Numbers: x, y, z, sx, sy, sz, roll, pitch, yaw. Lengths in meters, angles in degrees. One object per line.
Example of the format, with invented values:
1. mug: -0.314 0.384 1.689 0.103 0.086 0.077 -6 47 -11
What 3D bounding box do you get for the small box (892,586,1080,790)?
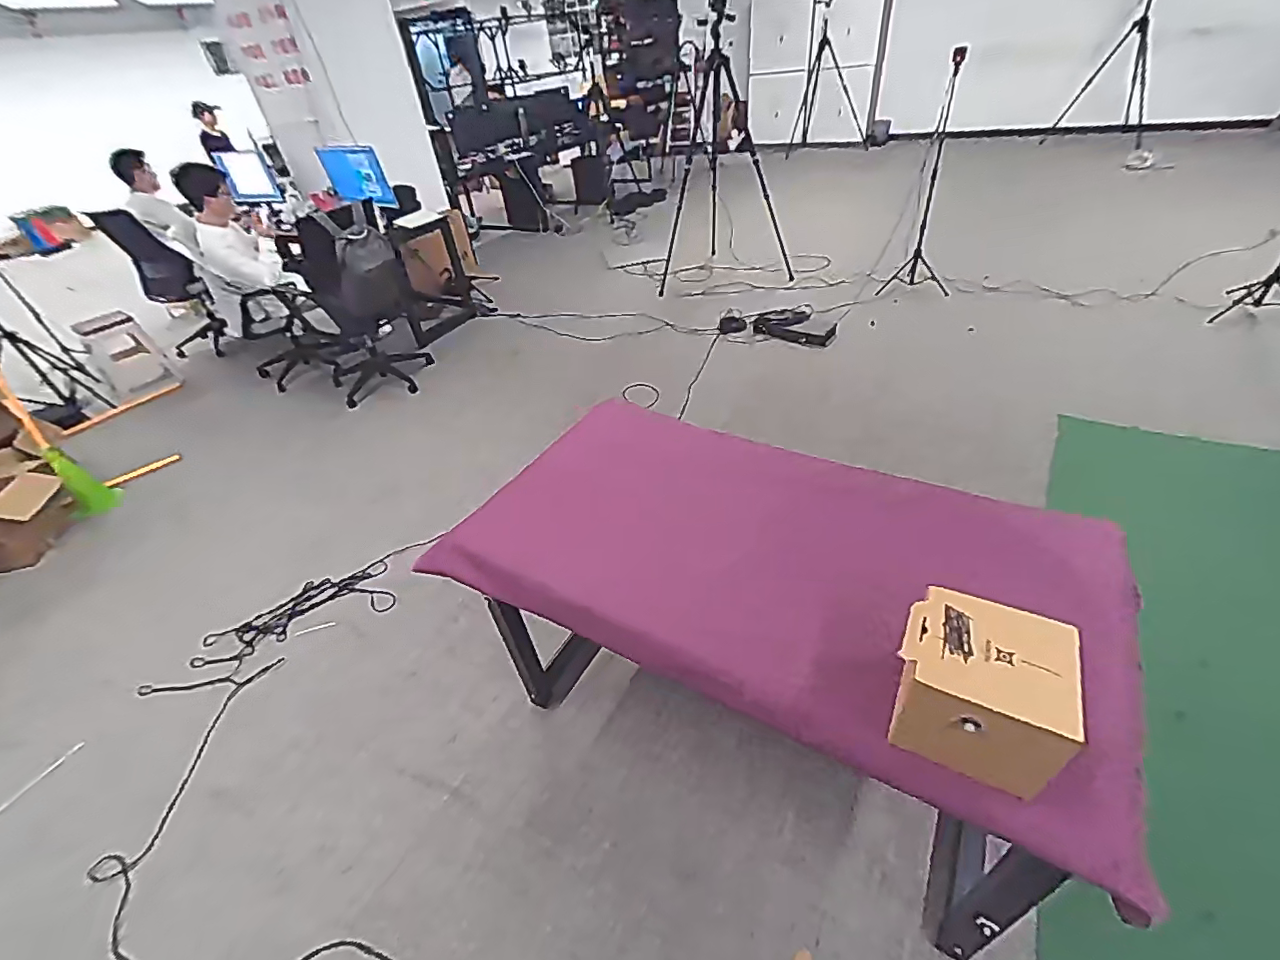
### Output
1. small box: 0.456 0.280 0.731 0.179 0.176 0.168 16 45 26
